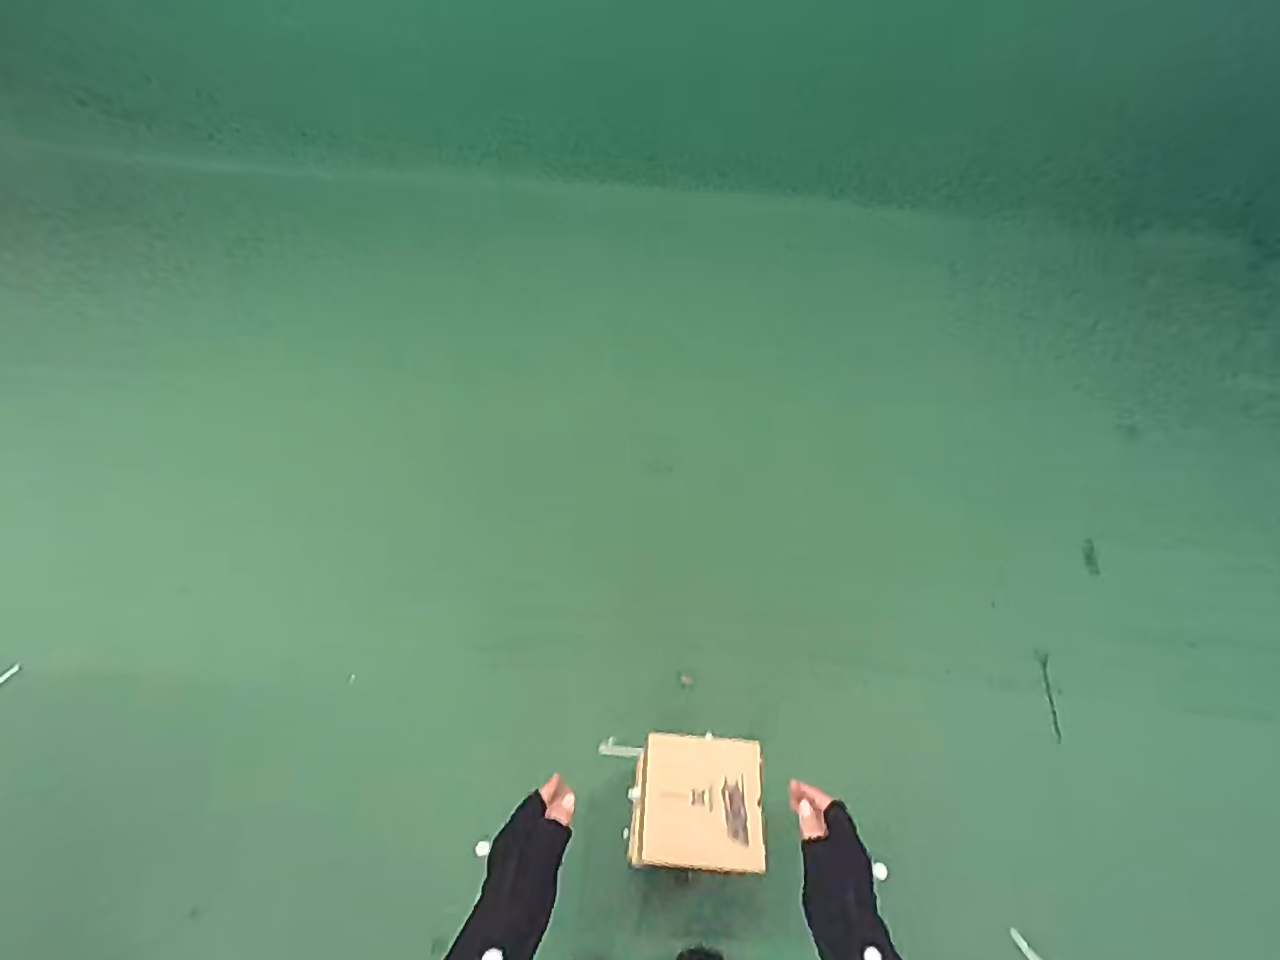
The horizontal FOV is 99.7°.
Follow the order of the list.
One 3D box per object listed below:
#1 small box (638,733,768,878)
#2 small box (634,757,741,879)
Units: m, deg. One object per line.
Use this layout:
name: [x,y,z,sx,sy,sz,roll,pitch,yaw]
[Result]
small box: [0.095,0.514,0.855,0.179,0.176,0.168,7,54,2]
small box: [0.083,0.617,0.986,0.179,0.176,0.168,5,56,1]
